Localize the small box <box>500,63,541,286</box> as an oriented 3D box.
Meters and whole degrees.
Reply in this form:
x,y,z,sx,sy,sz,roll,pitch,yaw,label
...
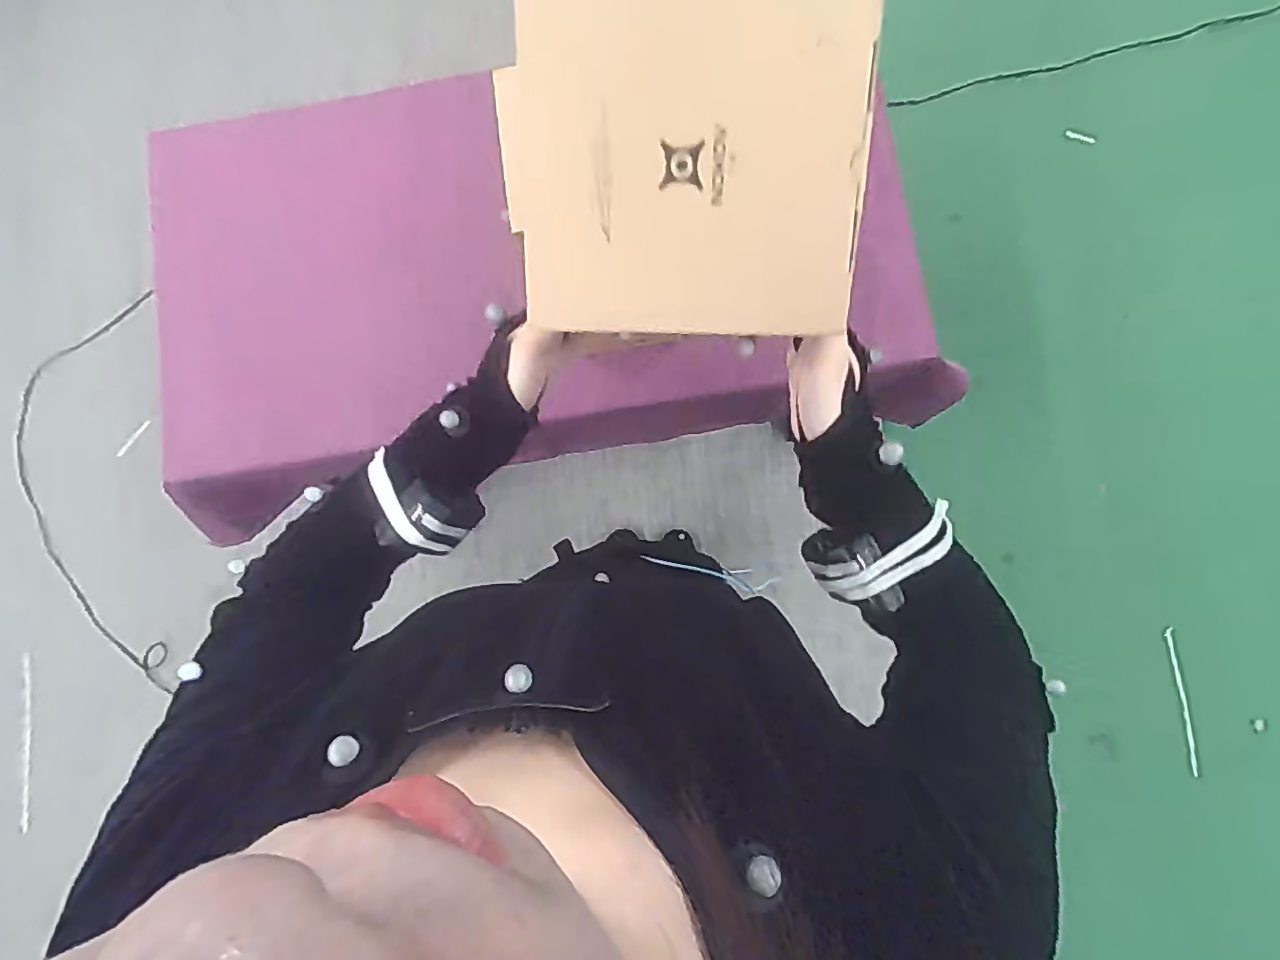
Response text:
x,y,z,sx,sy,sz,roll,pitch,yaw,label
-0.046,-0.314,0.593,0.168,0.176,0.179,-5,82,1,small box

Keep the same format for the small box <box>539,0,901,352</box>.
x,y,z,sx,sy,sz,roll,pitch,yaw,label
0.040,-0.177,0.357,0.179,0.176,0.168,4,105,4,small box
